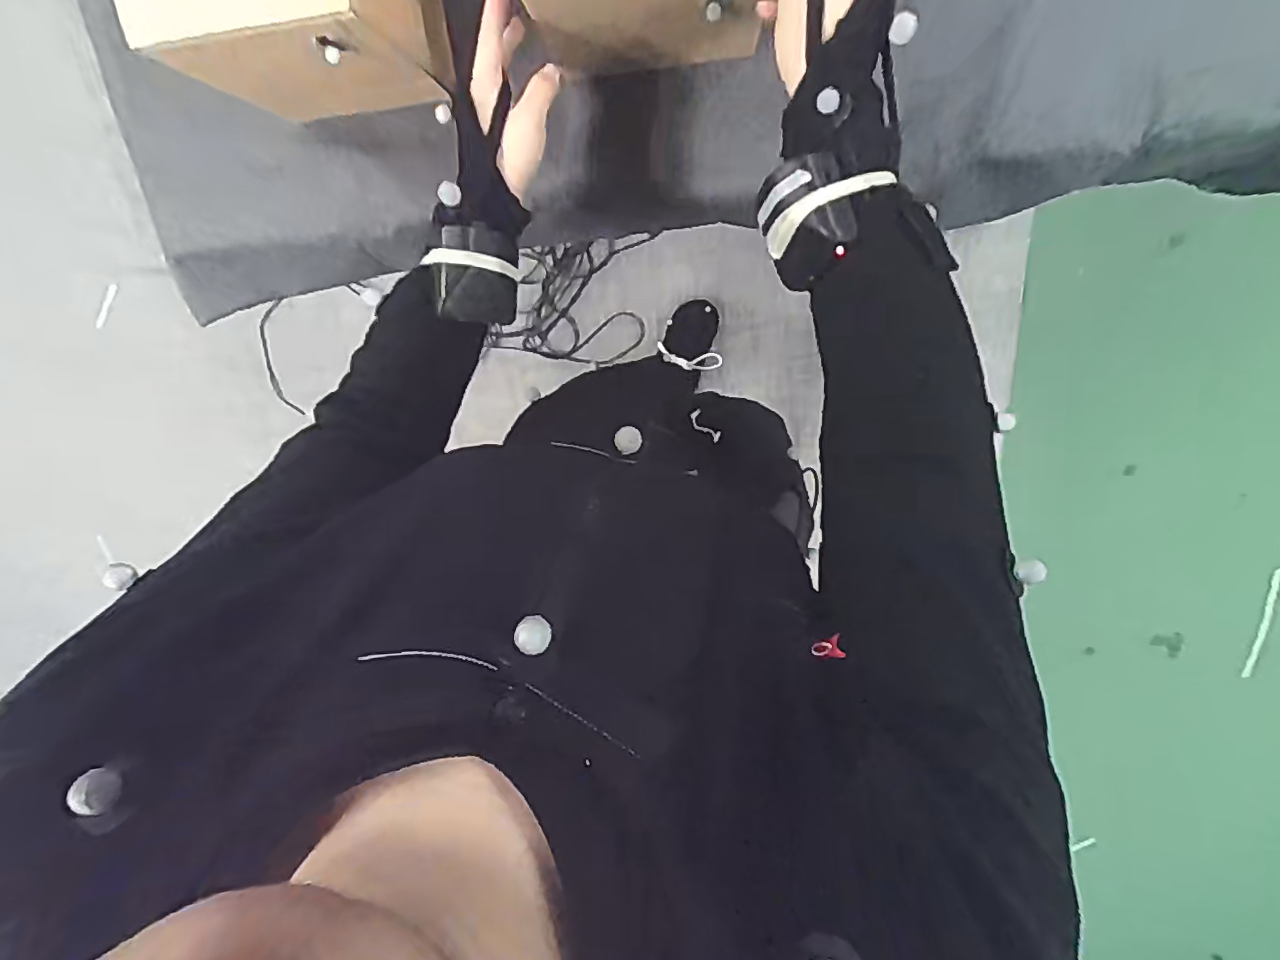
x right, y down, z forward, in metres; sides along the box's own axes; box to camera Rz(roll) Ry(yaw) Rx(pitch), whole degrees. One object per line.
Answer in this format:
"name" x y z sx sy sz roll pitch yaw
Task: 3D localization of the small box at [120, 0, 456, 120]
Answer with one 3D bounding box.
"small box" -0.273 -0.411 0.428 0.179 0.176 0.168 -4 107 6
